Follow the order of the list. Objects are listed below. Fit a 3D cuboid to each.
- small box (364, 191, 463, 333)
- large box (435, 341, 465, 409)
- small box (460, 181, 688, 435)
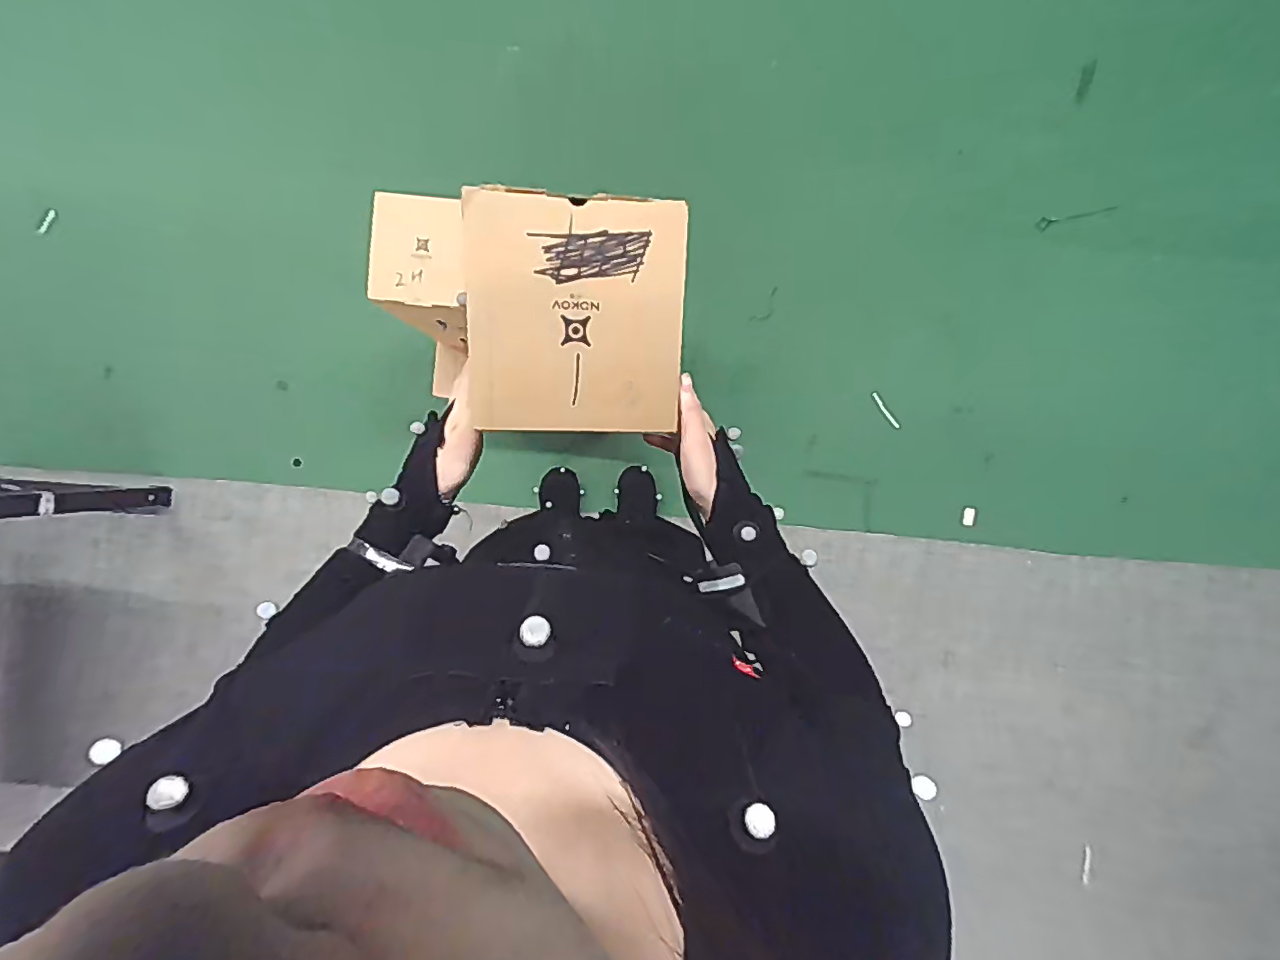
[{"bbox_3d":[-0.351,-0.367,0.940,0.168,0.176,0.179,5,91,0],"label":"small box"},{"bbox_3d":[-0.249,-0.316,1.347,0.408,0.320,0.320,6,92,0],"label":"large box"},{"bbox_3d":[-0.059,-0.141,0.479,0.168,0.176,0.179,1,105,-7],"label":"small box"}]
